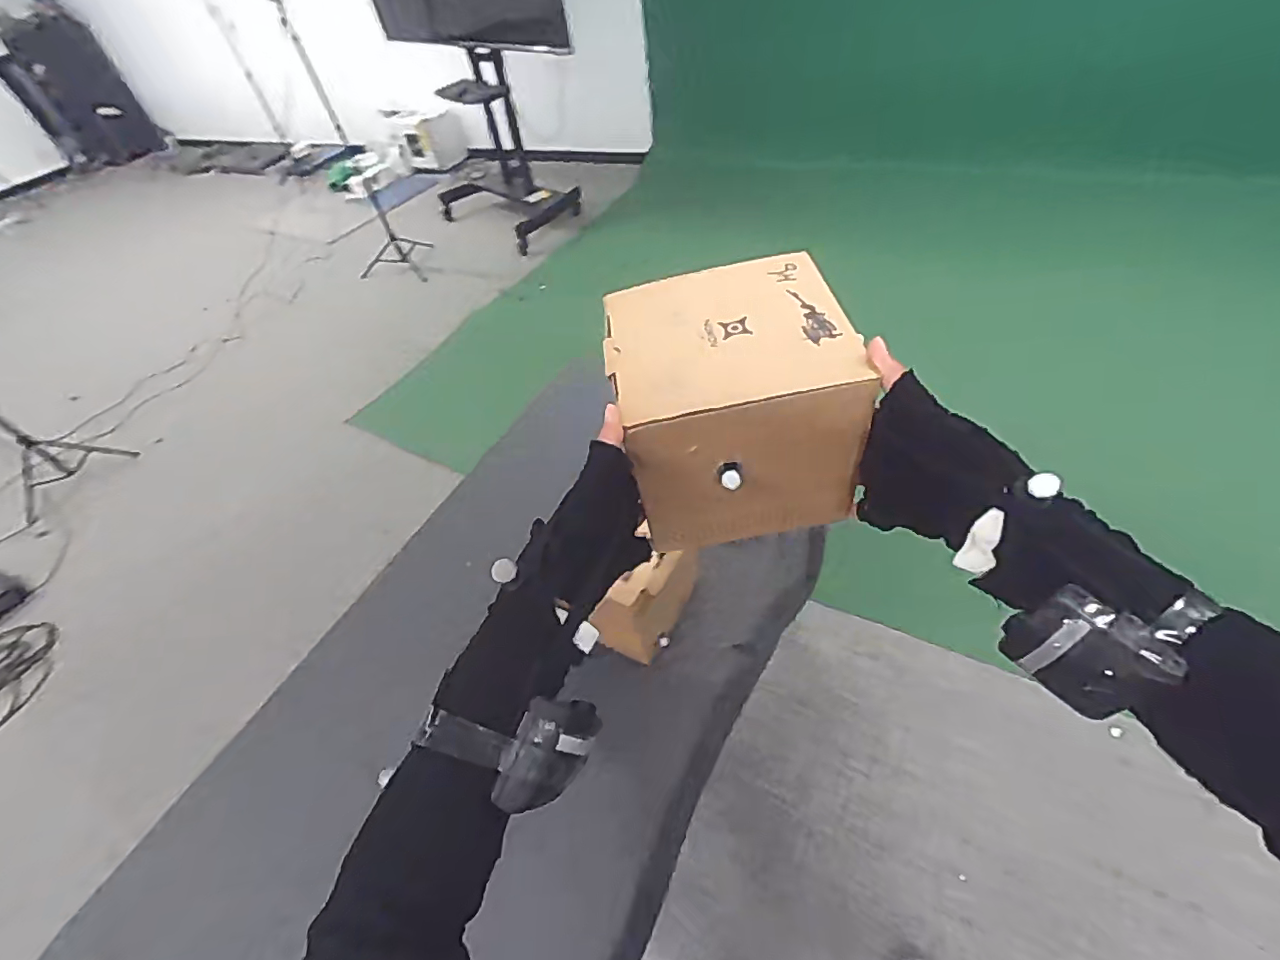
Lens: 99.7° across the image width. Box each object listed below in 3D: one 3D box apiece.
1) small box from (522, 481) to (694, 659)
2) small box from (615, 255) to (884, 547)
[{"bbox_3d":[-0.033,0.134,0.784,0.179,0.176,0.168,17,54,25],"label":"small box"},{"bbox_3d":[0.085,-0.059,0.468,0.179,0.176,0.168,-11,51,5],"label":"small box"}]
